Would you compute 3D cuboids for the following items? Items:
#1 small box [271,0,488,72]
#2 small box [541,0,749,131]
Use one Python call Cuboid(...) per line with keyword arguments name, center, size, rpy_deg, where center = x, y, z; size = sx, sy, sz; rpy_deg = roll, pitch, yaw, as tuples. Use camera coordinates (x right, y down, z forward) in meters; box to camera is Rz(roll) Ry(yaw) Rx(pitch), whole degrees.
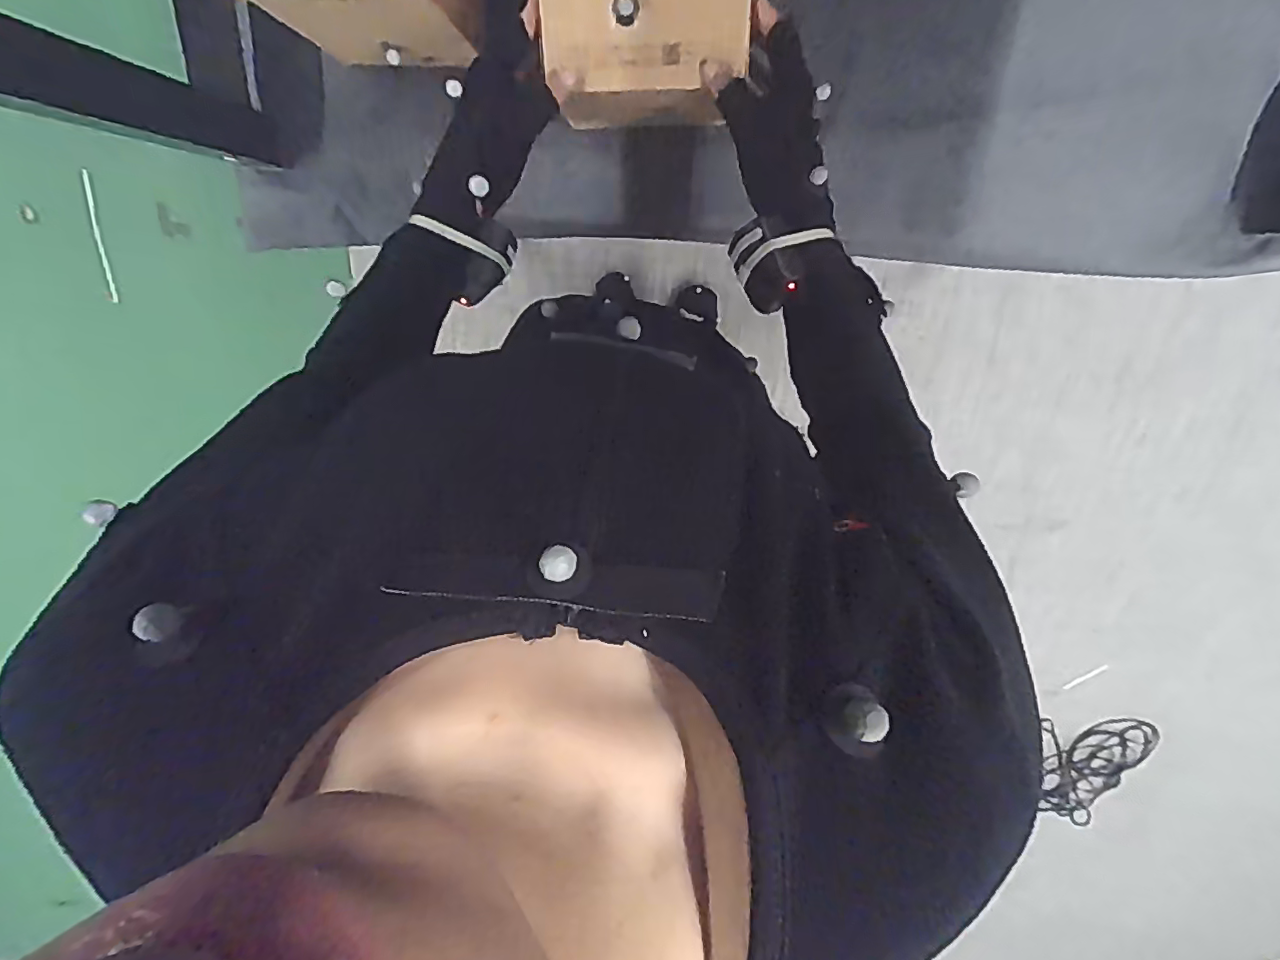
Cuboid(name="small box", center=(-0.244, -0.504, 0.484), size=(0.168, 0.176, 0.179), rpy_deg=(4, 110, 3))
Cuboid(name="small box", center=(0.006, -0.422, 0.480), size=(0.168, 0.179, 0.176), rpy_deg=(-1, 115, 3))
